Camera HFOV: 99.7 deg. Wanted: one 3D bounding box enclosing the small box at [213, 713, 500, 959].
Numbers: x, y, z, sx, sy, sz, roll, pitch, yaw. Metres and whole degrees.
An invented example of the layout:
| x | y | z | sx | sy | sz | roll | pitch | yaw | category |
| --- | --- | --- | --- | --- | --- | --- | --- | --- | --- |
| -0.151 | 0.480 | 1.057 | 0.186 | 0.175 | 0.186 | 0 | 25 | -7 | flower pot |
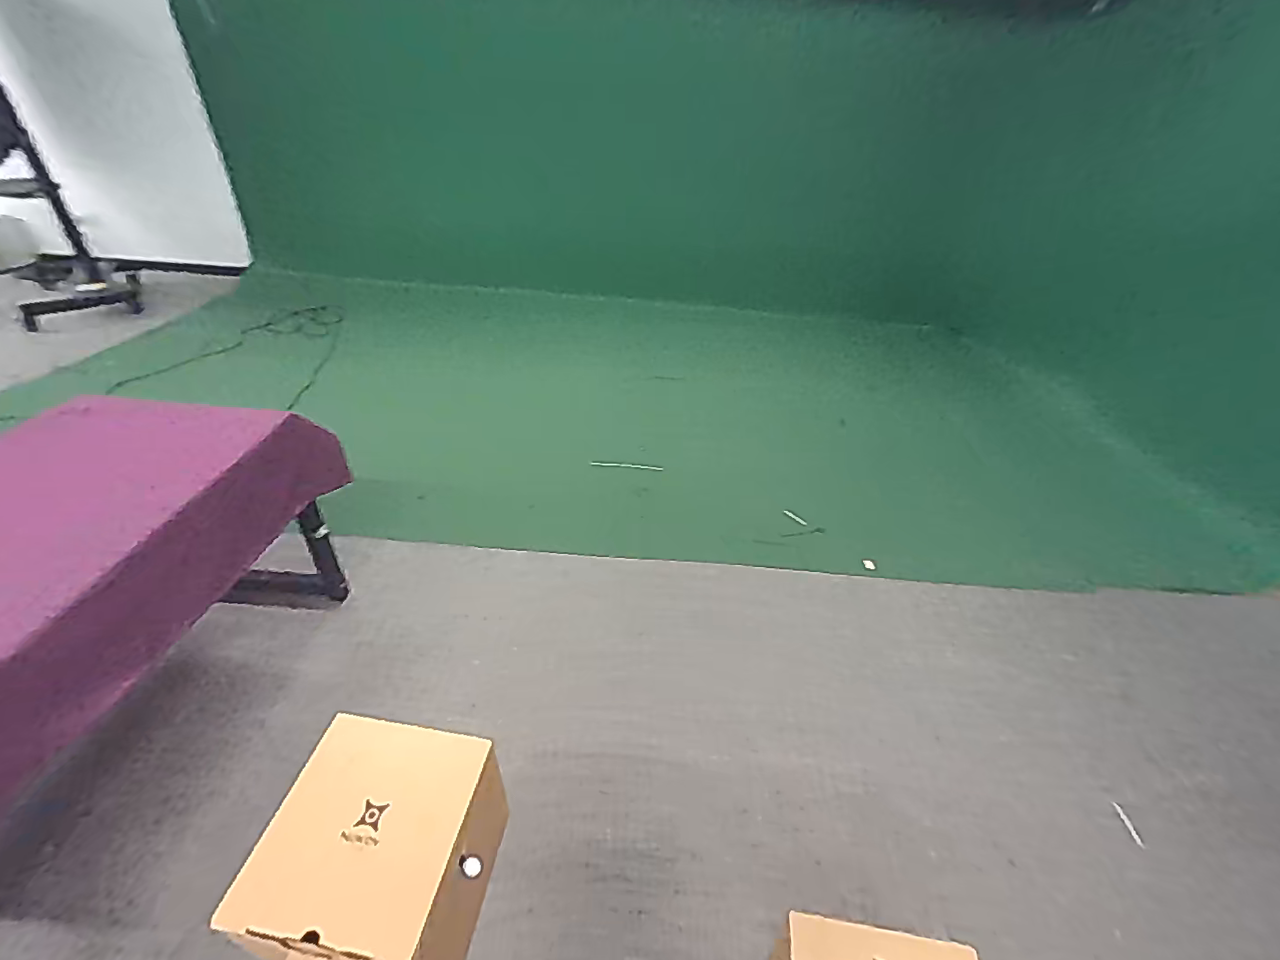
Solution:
| x | y | z | sx | sy | sz | roll | pitch | yaw | category |
| --- | --- | --- | --- | --- | --- | --- | --- | --- | --- |
| -0.244 | 0.362 | 0.524 | 0.168 | 0.176 | 0.179 | 8 | 39 | 5 | small box |
